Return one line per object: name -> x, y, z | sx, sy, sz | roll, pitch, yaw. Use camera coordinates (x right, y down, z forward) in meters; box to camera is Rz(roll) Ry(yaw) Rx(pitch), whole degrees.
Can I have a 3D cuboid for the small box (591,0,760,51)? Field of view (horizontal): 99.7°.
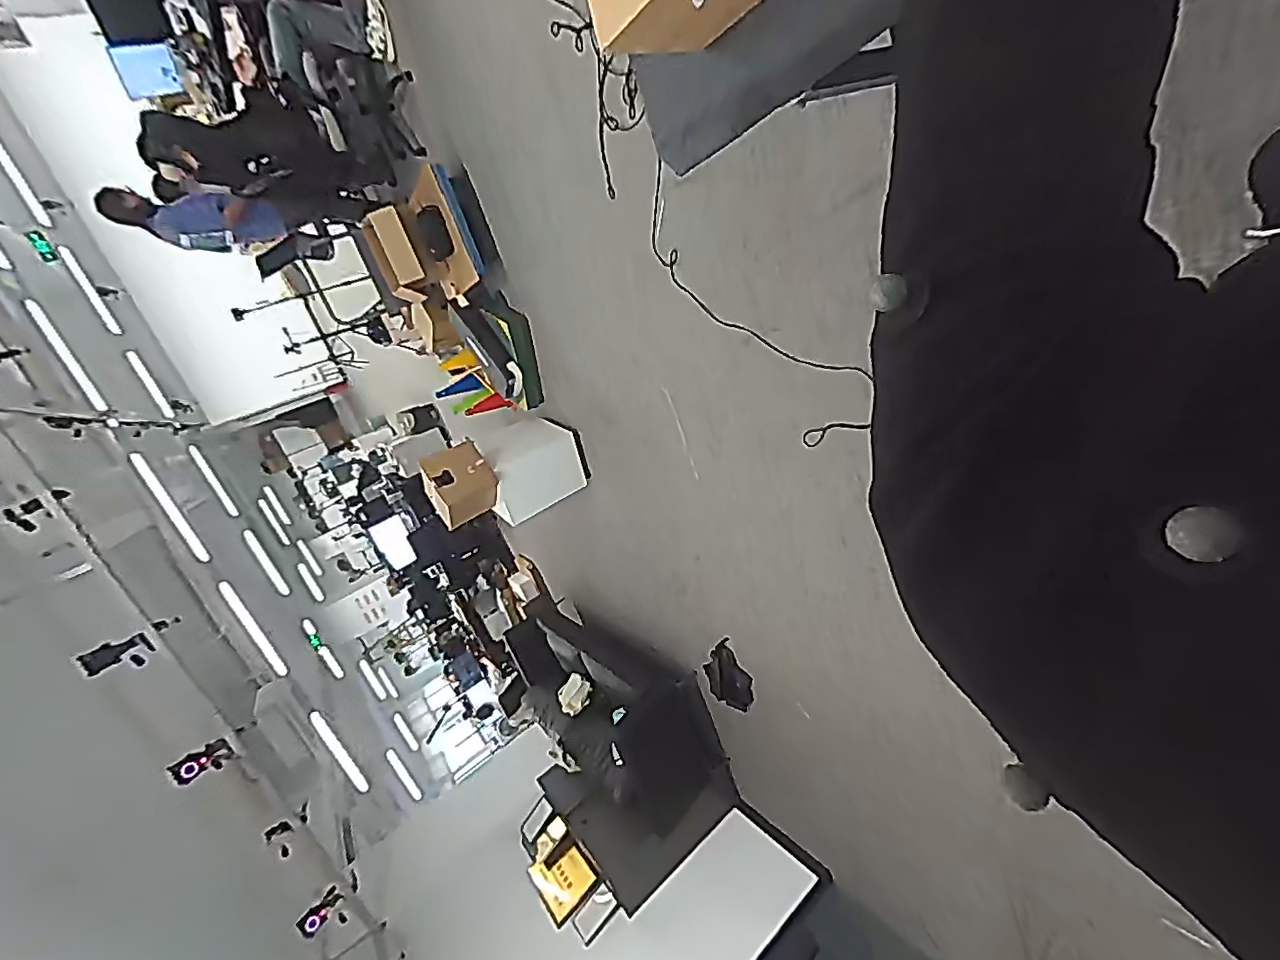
small box -> 0.047, -0.599, 0.574 | 0.179, 0.176, 0.168 | 12, 124, 55
